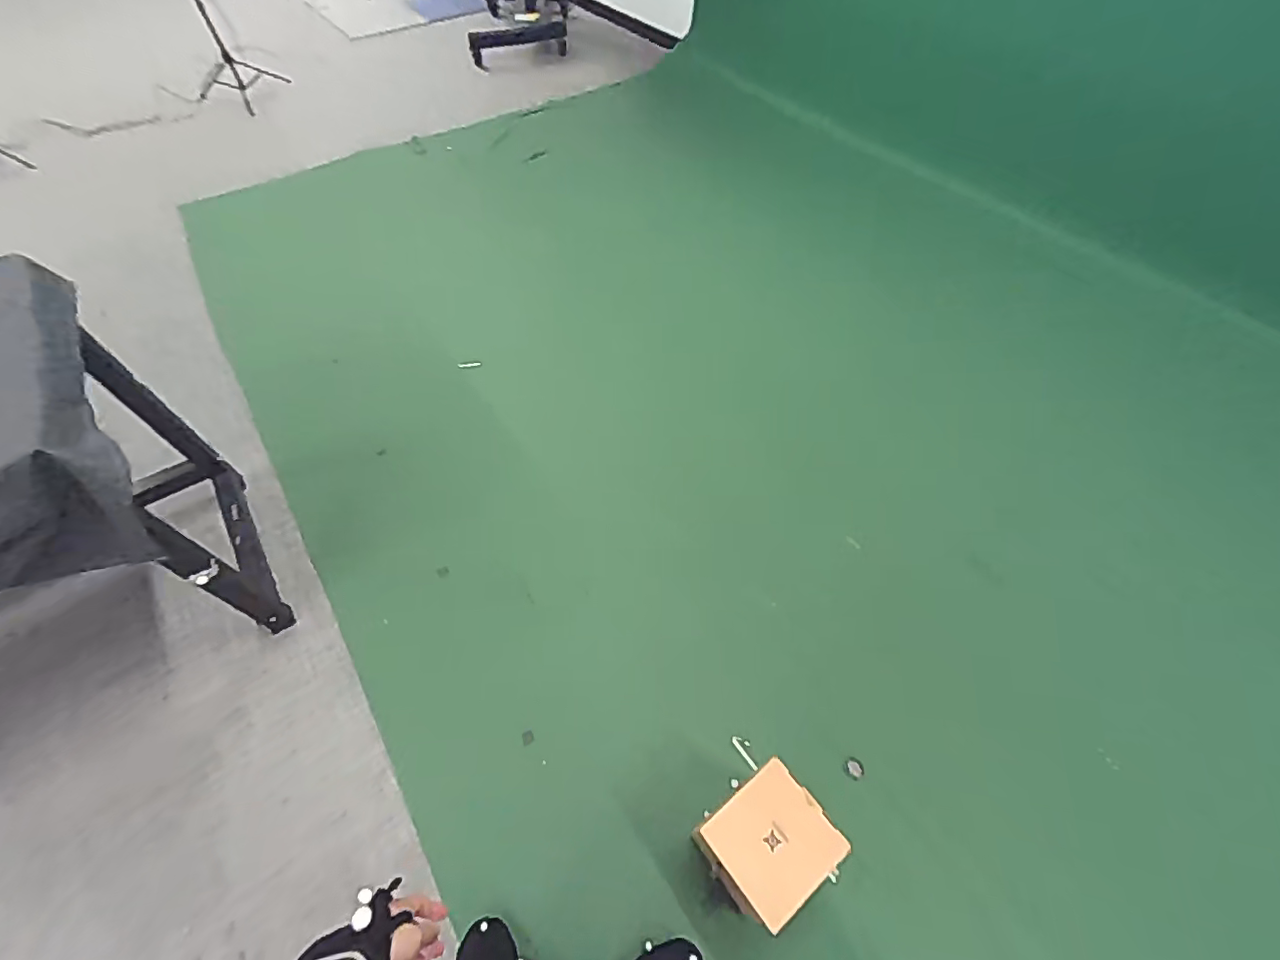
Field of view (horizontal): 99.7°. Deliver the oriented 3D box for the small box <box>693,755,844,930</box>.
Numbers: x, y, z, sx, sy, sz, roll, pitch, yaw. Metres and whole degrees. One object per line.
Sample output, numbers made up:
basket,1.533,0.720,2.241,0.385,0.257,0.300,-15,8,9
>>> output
small box,0.203,0.603,0.909,0.179,0.176,0.168,-33,61,-21
